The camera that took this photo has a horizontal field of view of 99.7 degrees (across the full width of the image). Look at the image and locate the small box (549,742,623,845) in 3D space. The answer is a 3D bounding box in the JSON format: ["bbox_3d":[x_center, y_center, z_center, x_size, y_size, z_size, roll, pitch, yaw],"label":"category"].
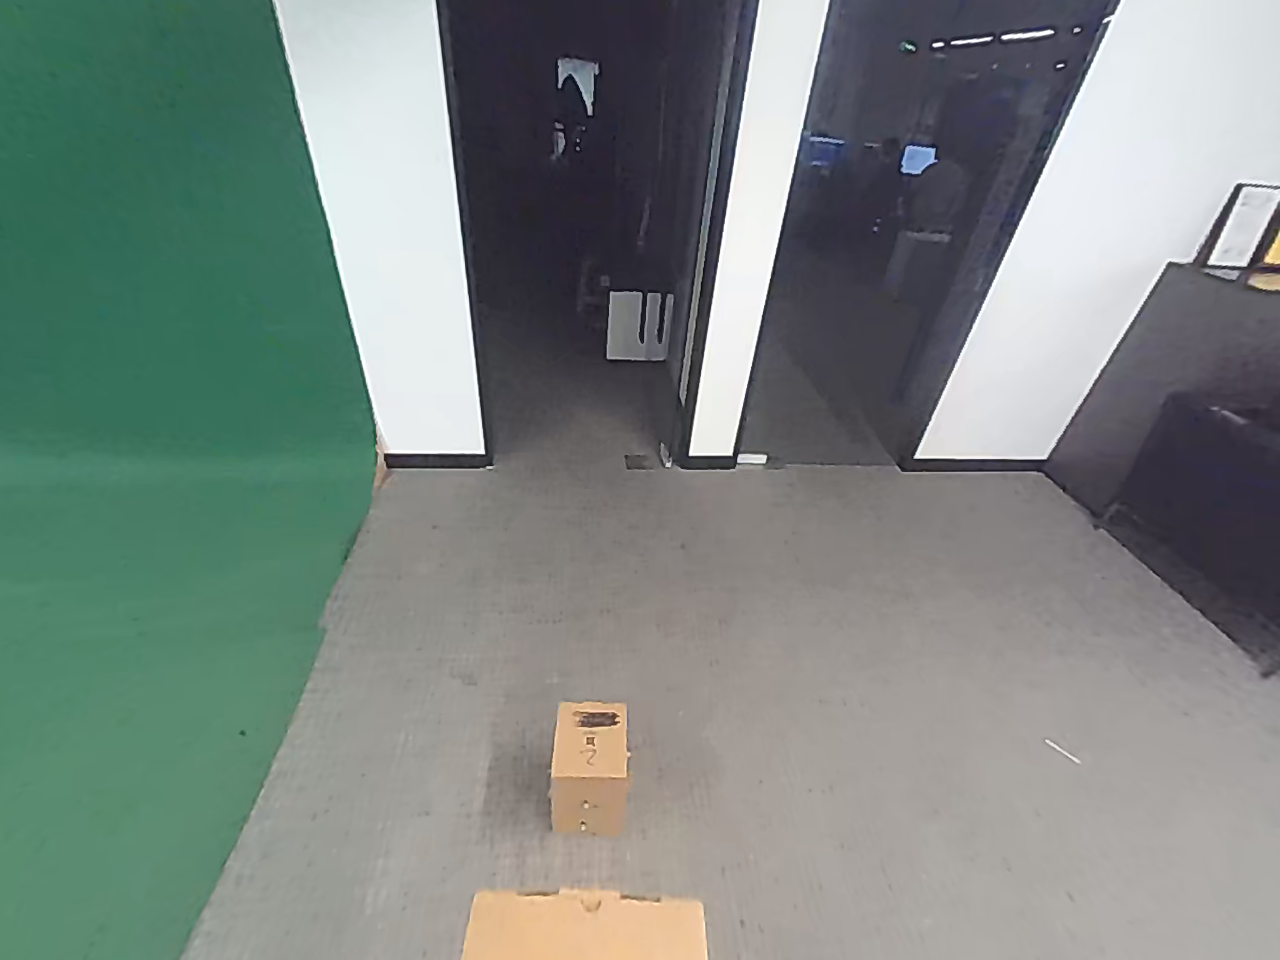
[{"bbox_3d":[-0.132,0.796,1.372,0.168,0.176,0.179,5,36,-1],"label":"small box"}]
